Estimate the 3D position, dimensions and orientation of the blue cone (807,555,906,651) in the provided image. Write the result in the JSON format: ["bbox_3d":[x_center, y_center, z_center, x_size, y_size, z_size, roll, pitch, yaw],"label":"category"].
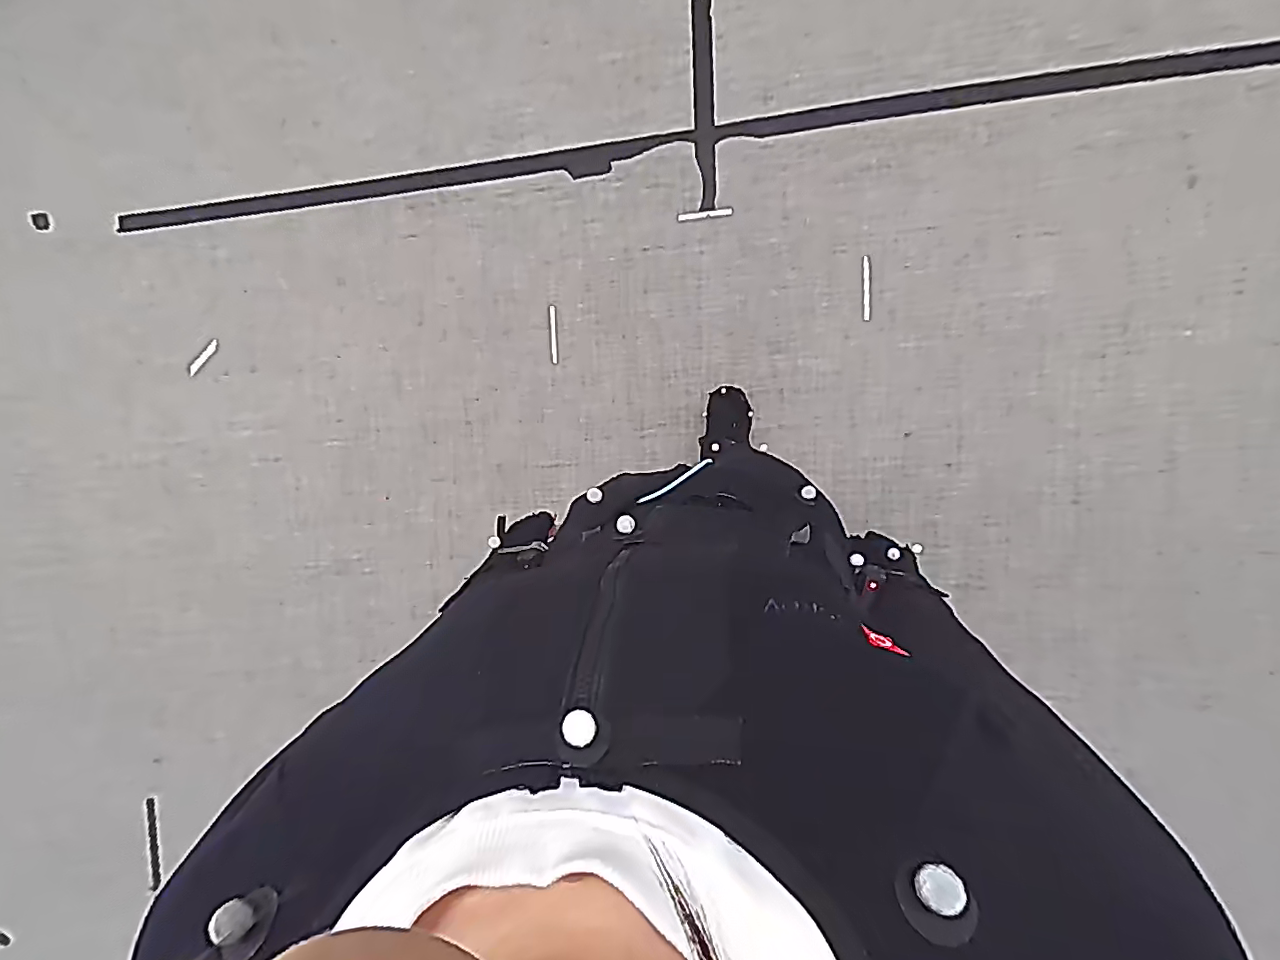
[{"bbox_3d":[0.503,0.297,1.216,0.192,0.380,0.193,2,95,7],"label":"blue cone"}]

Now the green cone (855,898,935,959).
[{"bbox_3d":[0.645,1.205,1.244,0.202,0.368,0.200,-2,94,7],"label":"green cone"}]
